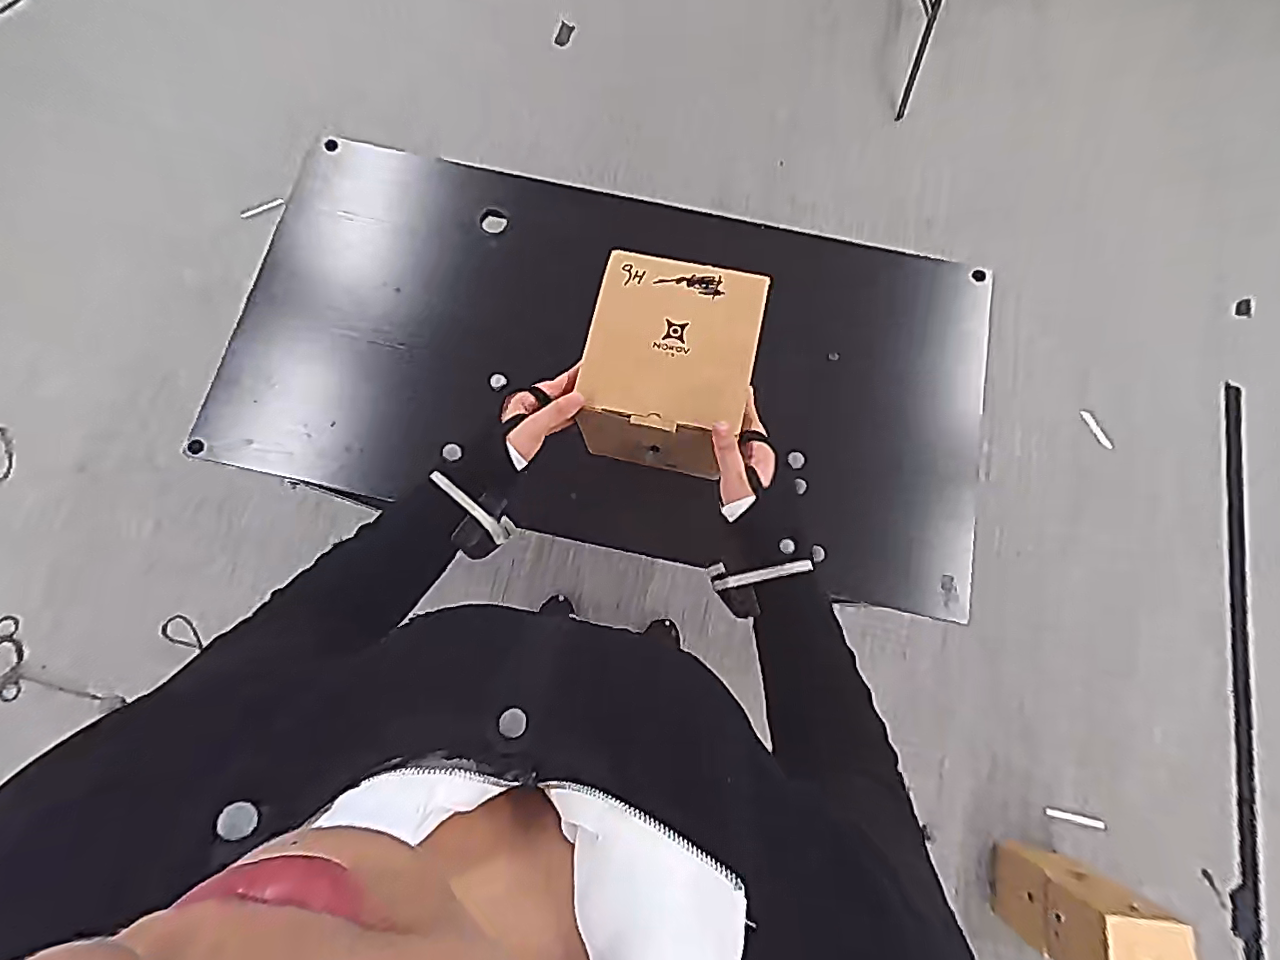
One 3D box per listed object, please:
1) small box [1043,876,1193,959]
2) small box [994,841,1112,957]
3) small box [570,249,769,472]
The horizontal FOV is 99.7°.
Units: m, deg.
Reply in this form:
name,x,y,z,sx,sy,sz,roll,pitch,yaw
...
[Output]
name,x,y,z,sx,sy,sz,roll,pitch,yaw
small box,0.991,0.964,1.129,0.179,0.176,0.168,6,76,1
small box,0.977,0.998,1.288,0.168,0.176,0.179,10,78,1
small box,0.033,-0.118,0.599,0.168,0.176,0.179,12,79,4
